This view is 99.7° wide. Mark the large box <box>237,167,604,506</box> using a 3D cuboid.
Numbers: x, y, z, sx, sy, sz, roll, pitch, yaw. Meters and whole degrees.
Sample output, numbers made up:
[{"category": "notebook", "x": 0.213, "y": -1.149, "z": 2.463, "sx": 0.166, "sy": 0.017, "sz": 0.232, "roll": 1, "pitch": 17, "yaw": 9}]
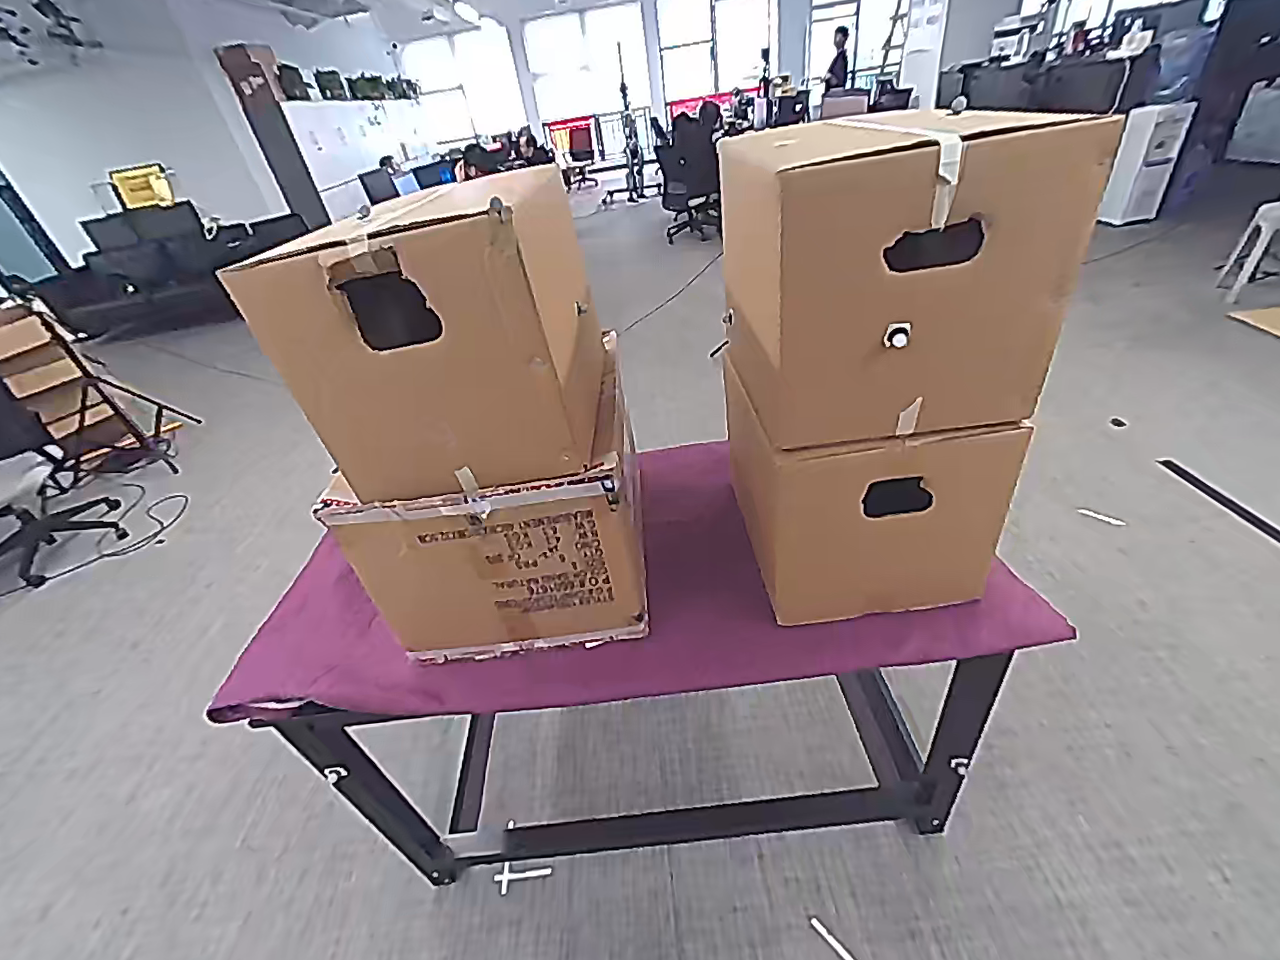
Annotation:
[{"category": "large box", "x": -0.235, "y": -0.221, "z": 0.770, "sx": 0.320, "sy": 0.320, "sz": 0.408, "roll": -10, "pitch": 35, "yaw": 6}]
